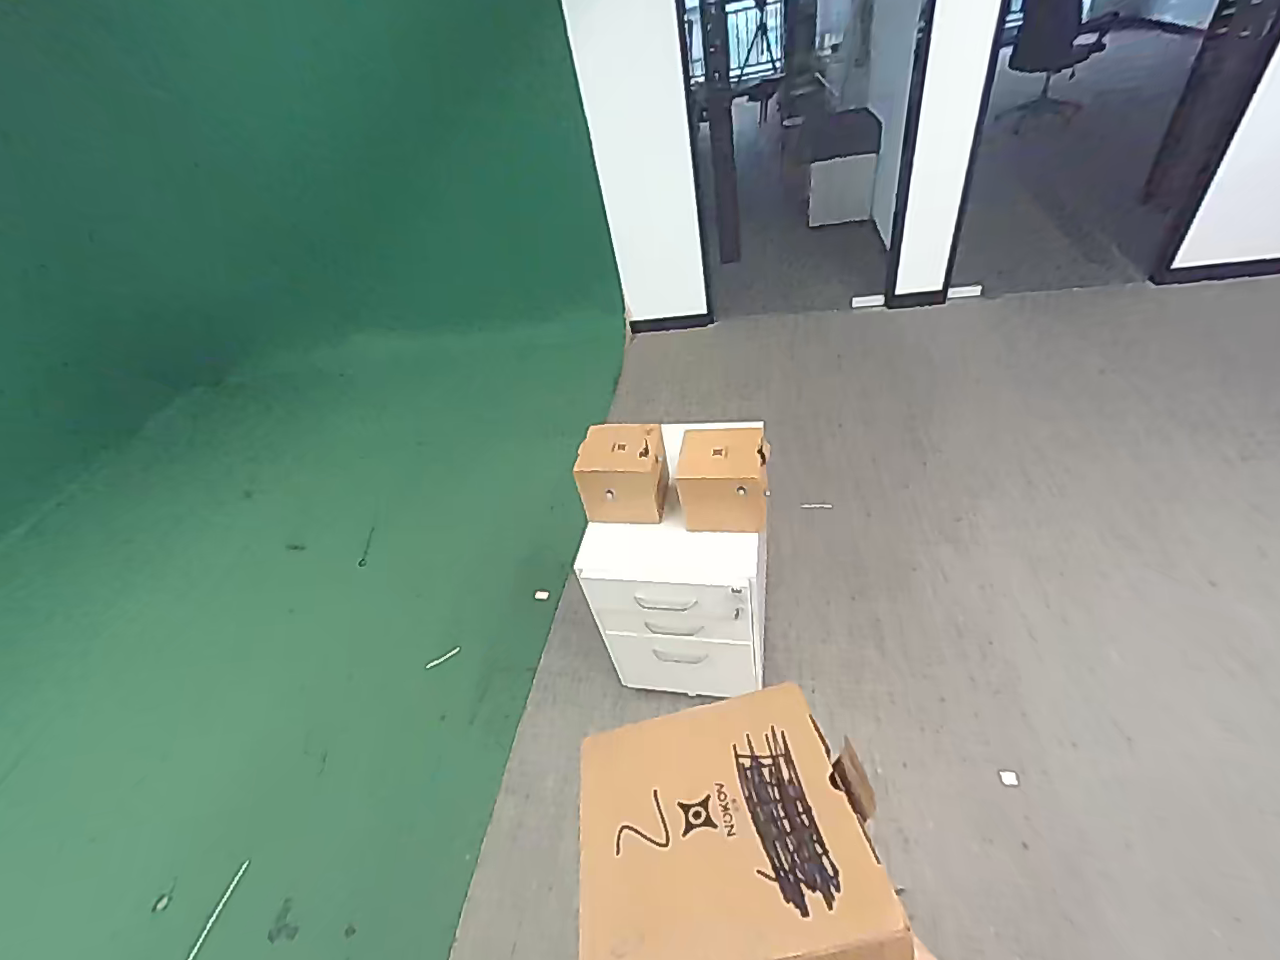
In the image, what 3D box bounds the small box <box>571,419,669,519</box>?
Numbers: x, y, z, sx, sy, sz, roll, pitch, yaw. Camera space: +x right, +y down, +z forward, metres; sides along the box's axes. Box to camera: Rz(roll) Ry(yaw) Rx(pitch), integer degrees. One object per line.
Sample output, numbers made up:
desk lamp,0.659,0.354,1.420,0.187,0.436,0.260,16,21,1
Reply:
small box,-0.039,-0.024,1.256,0.179,0.176,0.168,0,45,14
